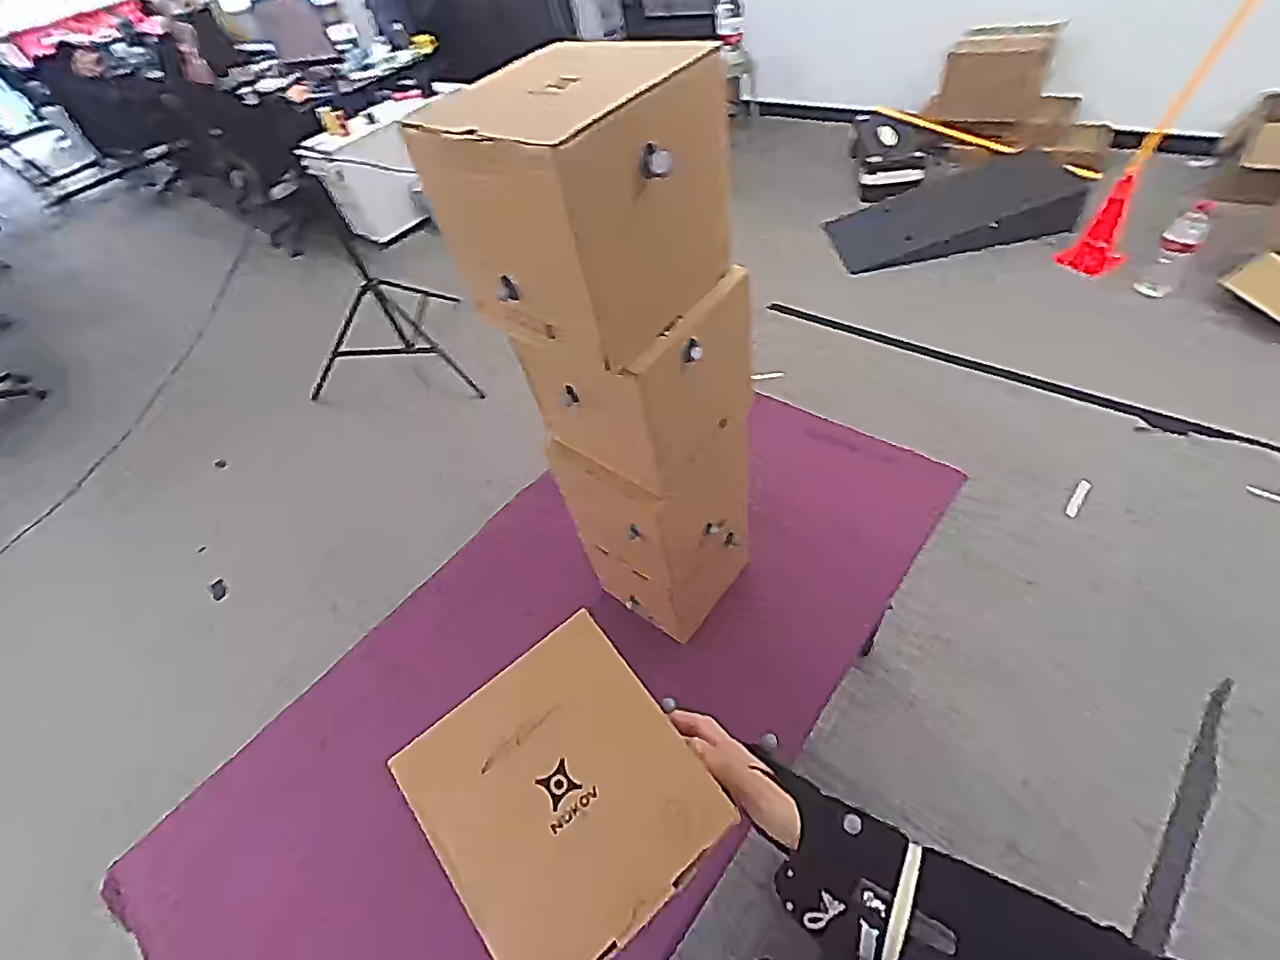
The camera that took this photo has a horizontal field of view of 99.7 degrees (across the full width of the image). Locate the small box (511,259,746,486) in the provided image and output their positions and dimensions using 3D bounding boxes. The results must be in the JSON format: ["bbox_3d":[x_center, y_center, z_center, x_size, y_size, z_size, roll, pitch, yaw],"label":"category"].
[{"bbox_3d":[-0.007,-0.121,0.560,0.179,0.176,0.168,28,62,31],"label":"small box"}]

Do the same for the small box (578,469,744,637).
[{"bbox_3d":[0.039,0.096,0.802,0.168,0.176,0.179,28,63,31],"label":"small box"}]

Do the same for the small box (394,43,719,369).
[{"bbox_3d":[-0.049,-0.223,0.440,0.168,0.176,0.179,27,62,30],"label":"small box"}]

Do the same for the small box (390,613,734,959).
[{"bbox_3d":[-0.053,0.237,0.429,0.168,0.176,0.179,-36,69,-17],"label":"small box"}]
